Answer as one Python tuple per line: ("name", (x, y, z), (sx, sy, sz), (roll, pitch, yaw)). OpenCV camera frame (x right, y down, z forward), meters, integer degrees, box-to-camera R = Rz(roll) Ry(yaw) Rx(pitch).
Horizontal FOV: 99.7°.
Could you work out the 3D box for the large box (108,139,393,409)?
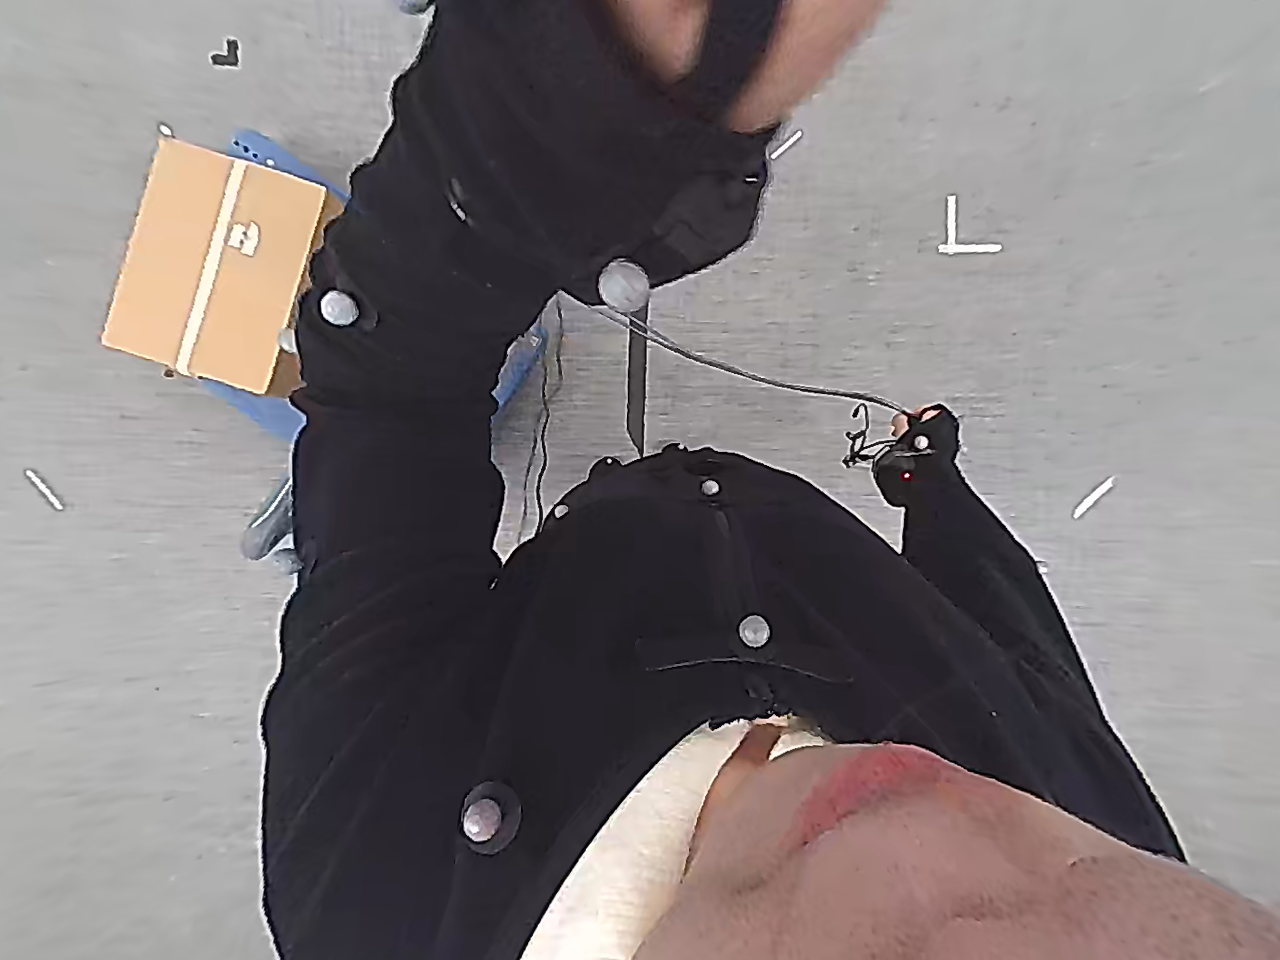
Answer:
("large box", (-0.785, -0.396, 1.144), (0.320, 0.320, 0.408), (18, 91, -3))
